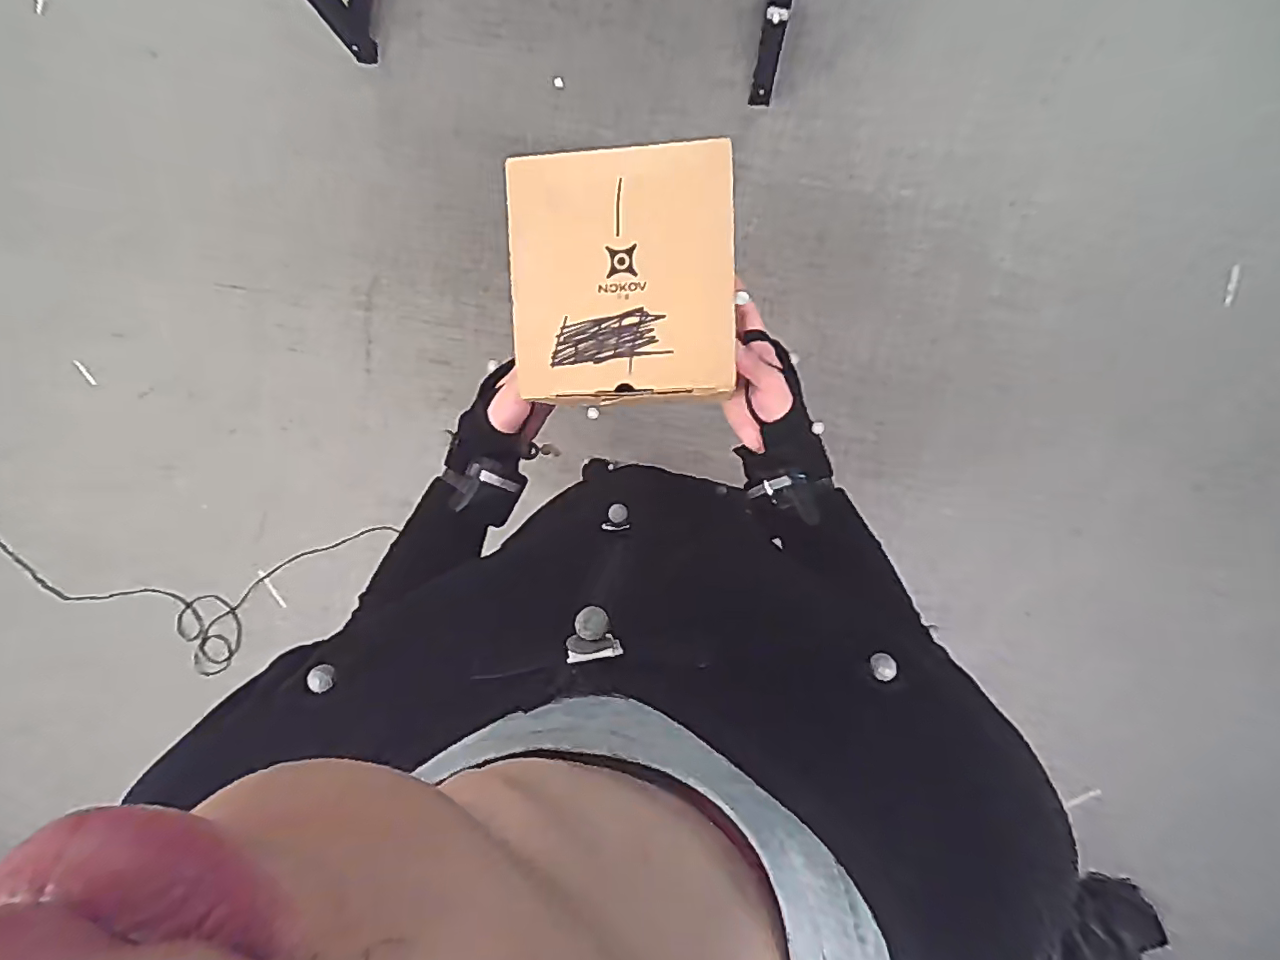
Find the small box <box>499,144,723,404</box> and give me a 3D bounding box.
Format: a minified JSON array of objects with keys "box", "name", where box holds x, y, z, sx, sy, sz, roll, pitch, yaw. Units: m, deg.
[{"box":[-0.012,-0.156,0.474,0.168,0.176,0.179,0,95,7],"name":"small box"}]
